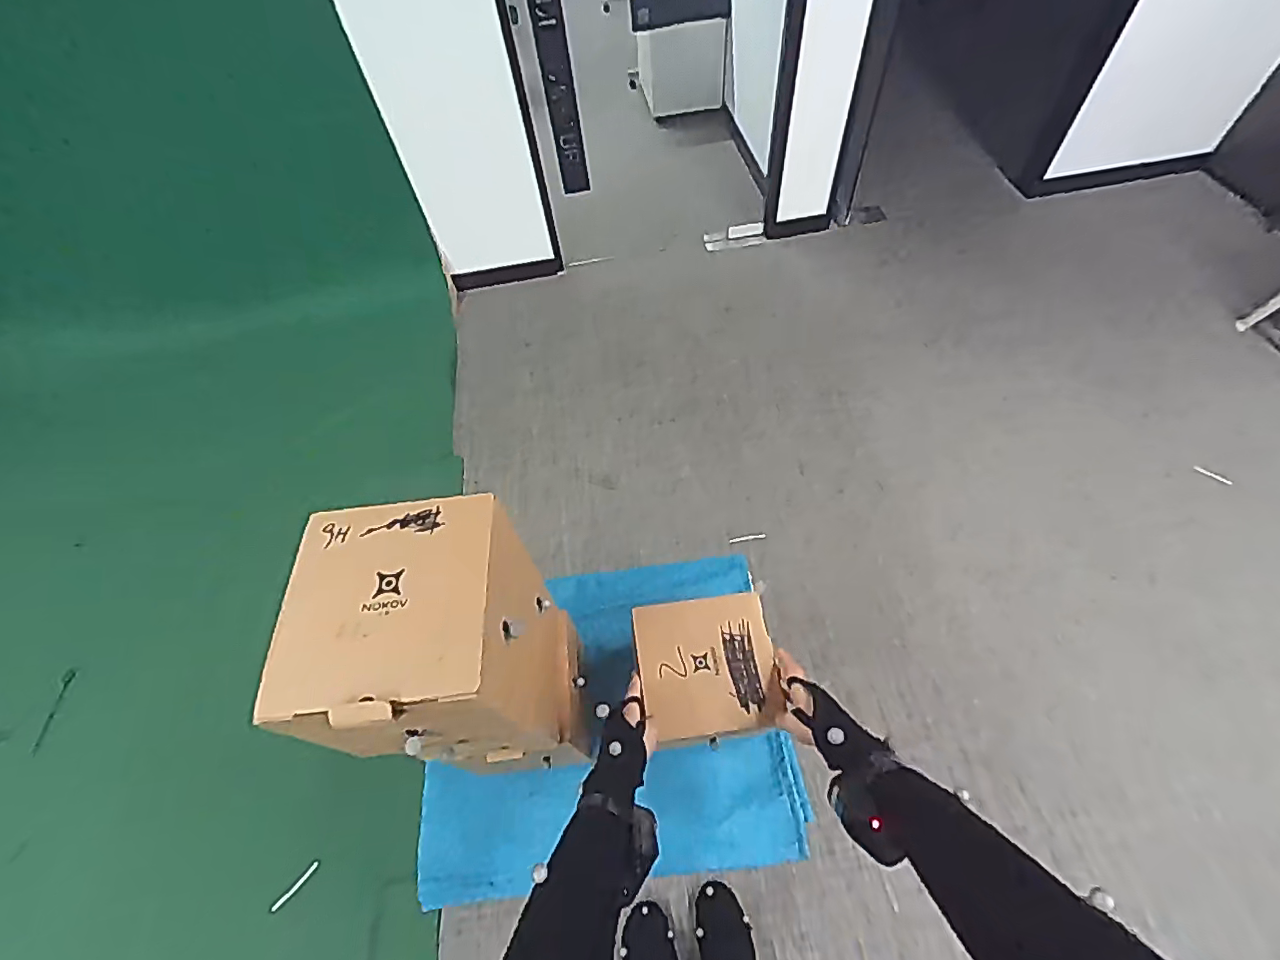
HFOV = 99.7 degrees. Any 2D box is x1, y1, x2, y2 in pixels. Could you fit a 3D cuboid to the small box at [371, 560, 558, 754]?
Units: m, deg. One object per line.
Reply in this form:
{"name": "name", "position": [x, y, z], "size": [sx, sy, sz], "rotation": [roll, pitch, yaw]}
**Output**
{"name": "small box", "position": [-0.192, 0.214, 0.634], "size": [0.168, 0.176, 0.179], "rotation": [-5, 55, 1]}

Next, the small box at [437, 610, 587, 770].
{"name": "small box", "position": [-0.168, 0.304, 0.768], "size": [0.168, 0.176, 0.179], "rotation": [-6, 54, 0]}

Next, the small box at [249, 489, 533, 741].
{"name": "small box", "position": [-0.197, 0.131, 0.492], "size": [0.168, 0.176, 0.179], "rotation": [-5, 56, 0]}
